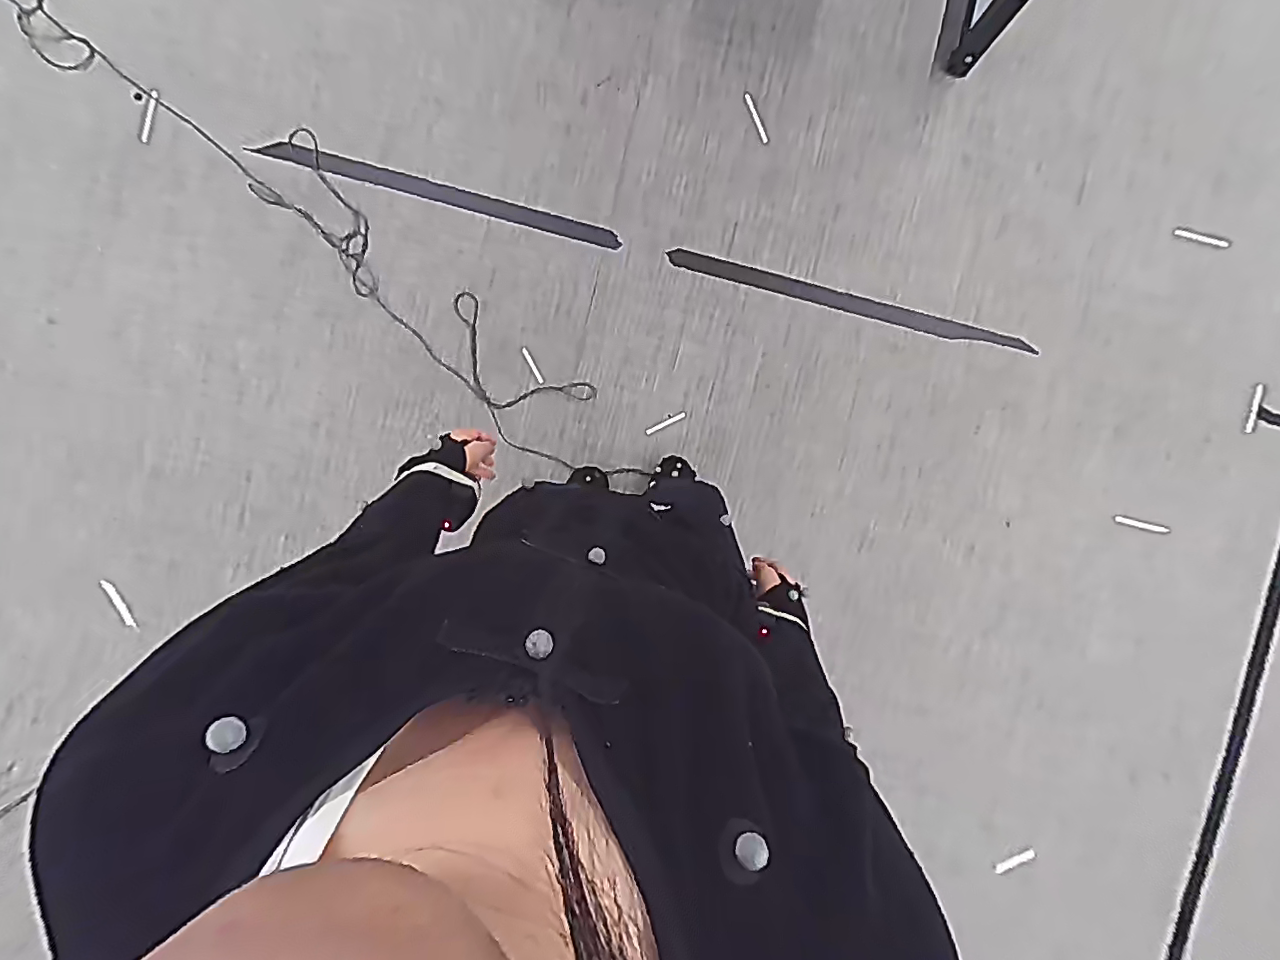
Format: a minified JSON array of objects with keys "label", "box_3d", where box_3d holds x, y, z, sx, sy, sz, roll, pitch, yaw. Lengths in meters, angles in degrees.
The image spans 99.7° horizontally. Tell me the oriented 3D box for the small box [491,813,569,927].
[{"label":"small box","box_3d":[-0.282,1.014,1.419,0.168,0.176,0.179,7,91,-1]}]
